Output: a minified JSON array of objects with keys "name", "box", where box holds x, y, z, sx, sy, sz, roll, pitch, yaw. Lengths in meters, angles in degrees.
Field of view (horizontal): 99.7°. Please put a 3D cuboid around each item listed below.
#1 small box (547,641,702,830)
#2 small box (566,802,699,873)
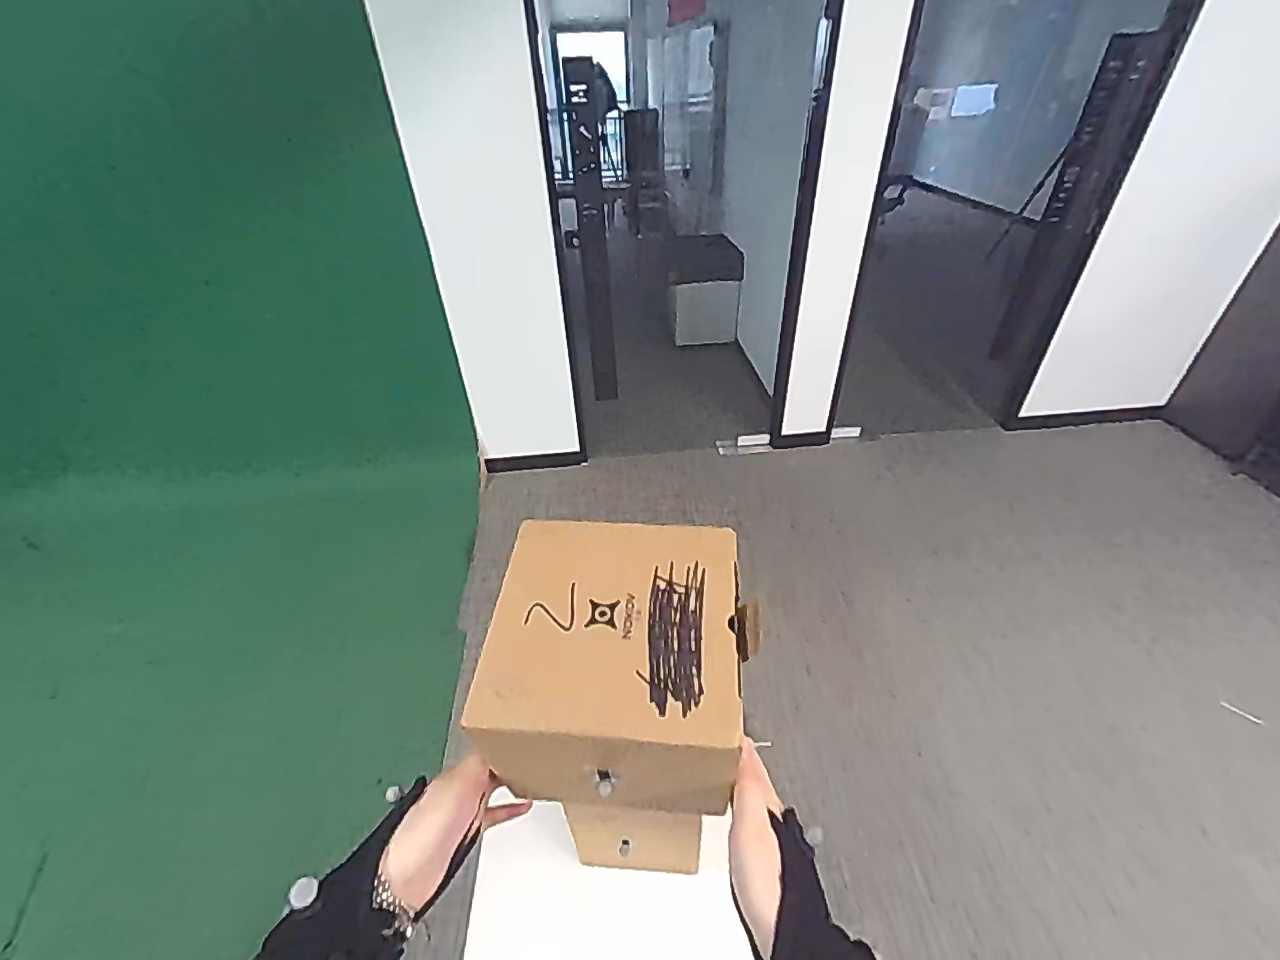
[{"name":"small box","box":[-0.010,0.332,0.705,0.179,0.176,0.168,2,38,4]},{"name":"small box","box":[0.000,0.459,0.806,0.179,0.176,0.168,1,38,5]}]
